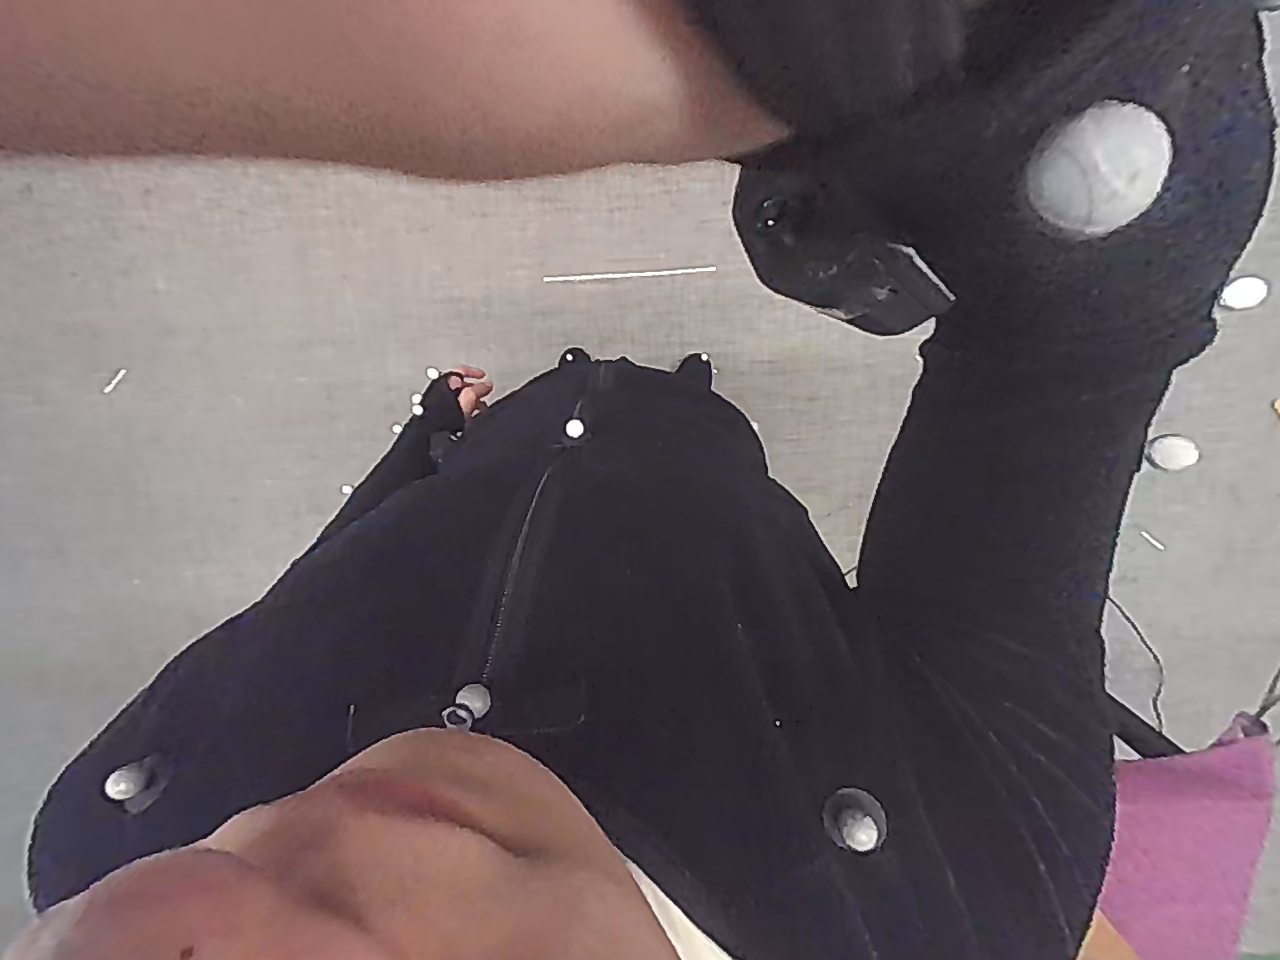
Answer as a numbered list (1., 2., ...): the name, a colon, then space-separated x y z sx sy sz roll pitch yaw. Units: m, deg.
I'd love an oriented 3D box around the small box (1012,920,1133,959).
1. small box: 0.825 0.957 0.995 0.179 0.176 0.168 -7 102 3
